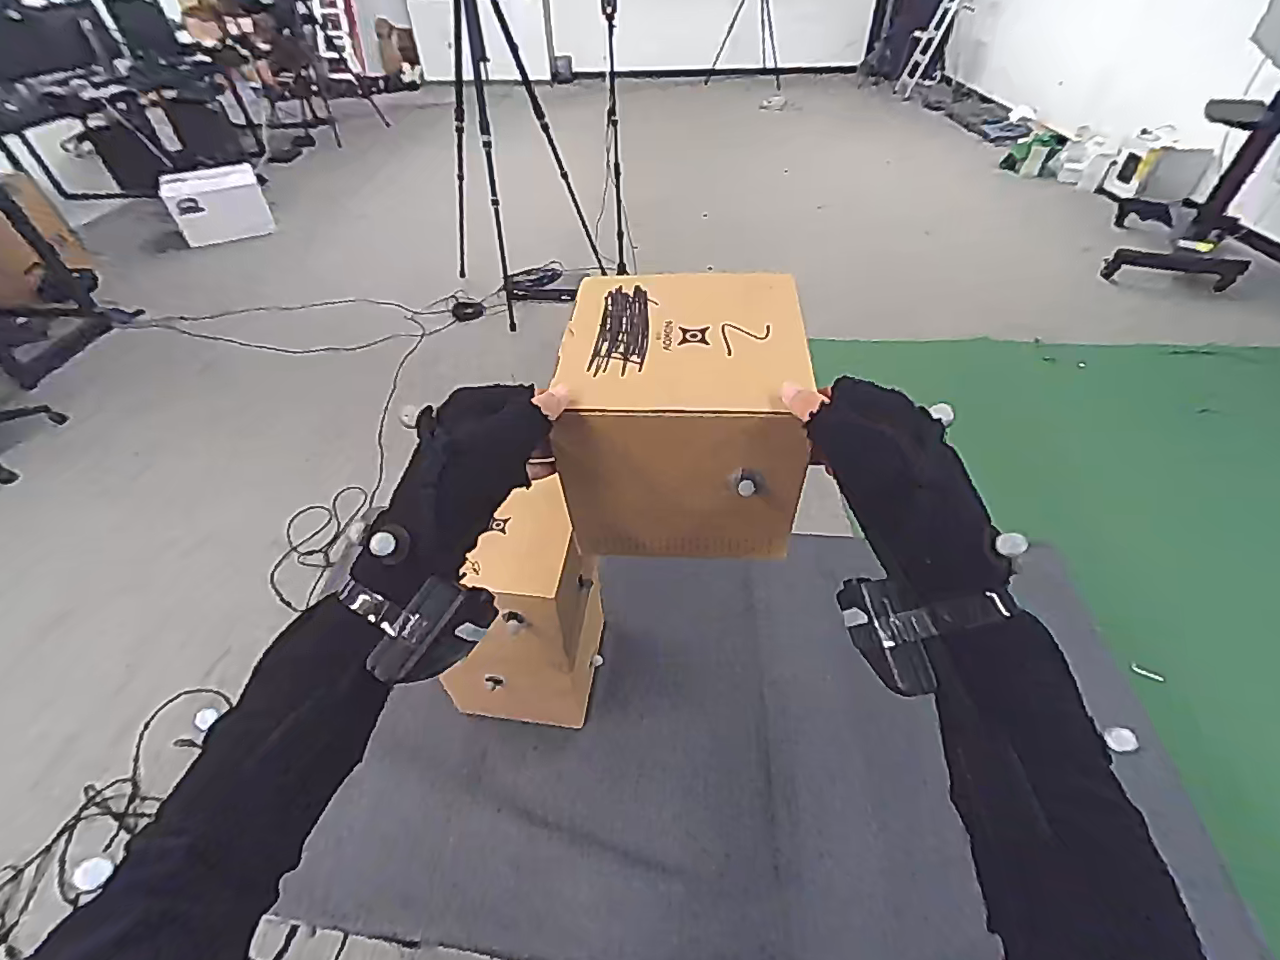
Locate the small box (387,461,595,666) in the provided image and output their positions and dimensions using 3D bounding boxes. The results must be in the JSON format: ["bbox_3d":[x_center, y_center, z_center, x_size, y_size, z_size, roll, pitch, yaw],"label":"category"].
[{"bbox_3d":[-0.152,0.100,0.630,0.179,0.176,0.168,4,45,4],"label":"small box"}]

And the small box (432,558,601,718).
[{"bbox_3d":[-0.156,0.212,0.751,0.179,0.176,0.168,6,45,5],"label":"small box"}]
